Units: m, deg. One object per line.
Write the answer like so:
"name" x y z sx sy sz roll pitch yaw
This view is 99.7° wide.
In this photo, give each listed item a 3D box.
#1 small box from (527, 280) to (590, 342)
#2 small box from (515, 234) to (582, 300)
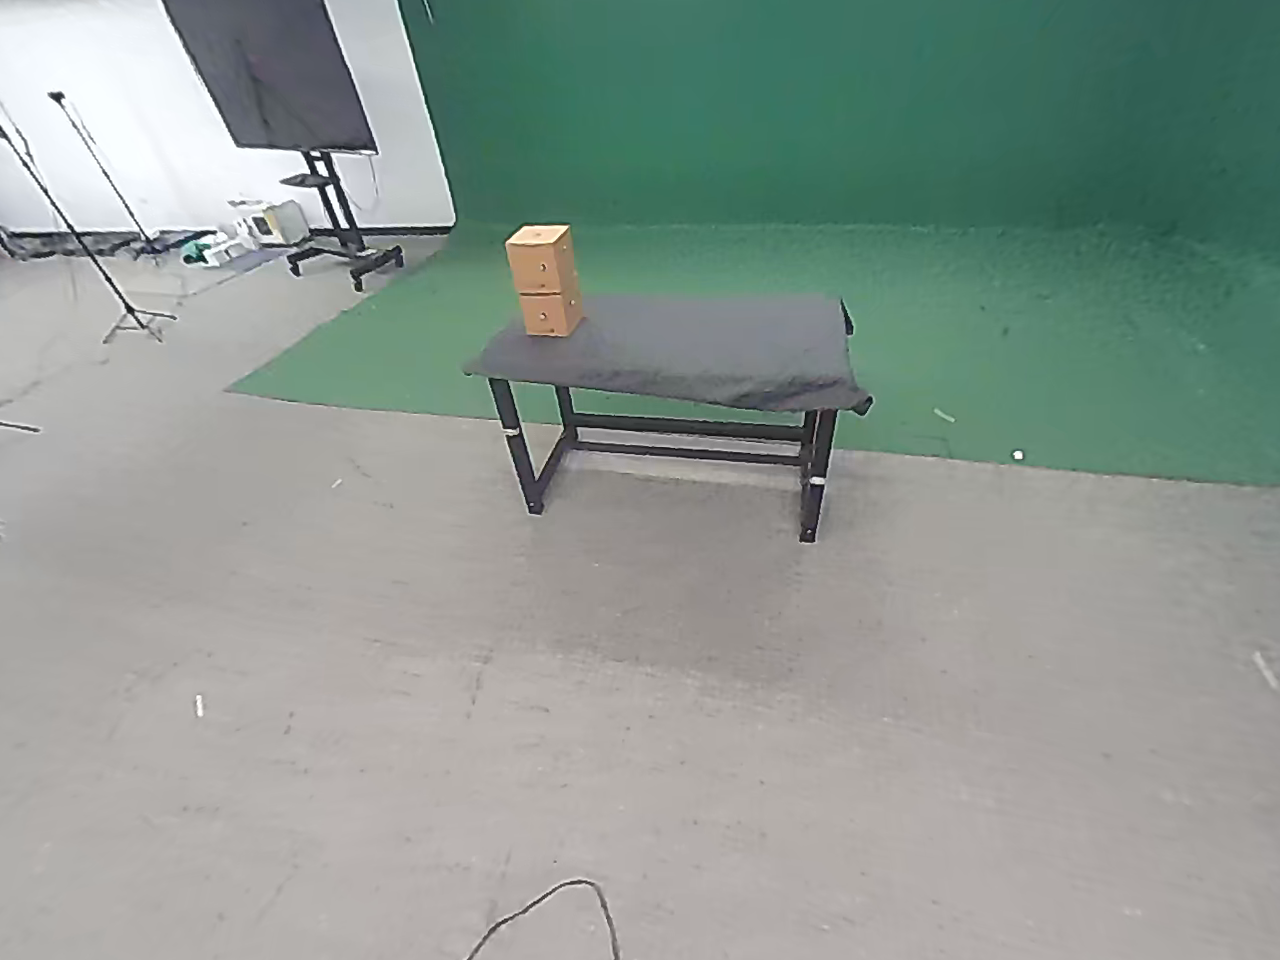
"small box" -0.291 -0.619 1.977 0.168 0.176 0.179 7 43 14
"small box" -0.306 -0.733 1.861 0.168 0.176 0.179 6 41 12
